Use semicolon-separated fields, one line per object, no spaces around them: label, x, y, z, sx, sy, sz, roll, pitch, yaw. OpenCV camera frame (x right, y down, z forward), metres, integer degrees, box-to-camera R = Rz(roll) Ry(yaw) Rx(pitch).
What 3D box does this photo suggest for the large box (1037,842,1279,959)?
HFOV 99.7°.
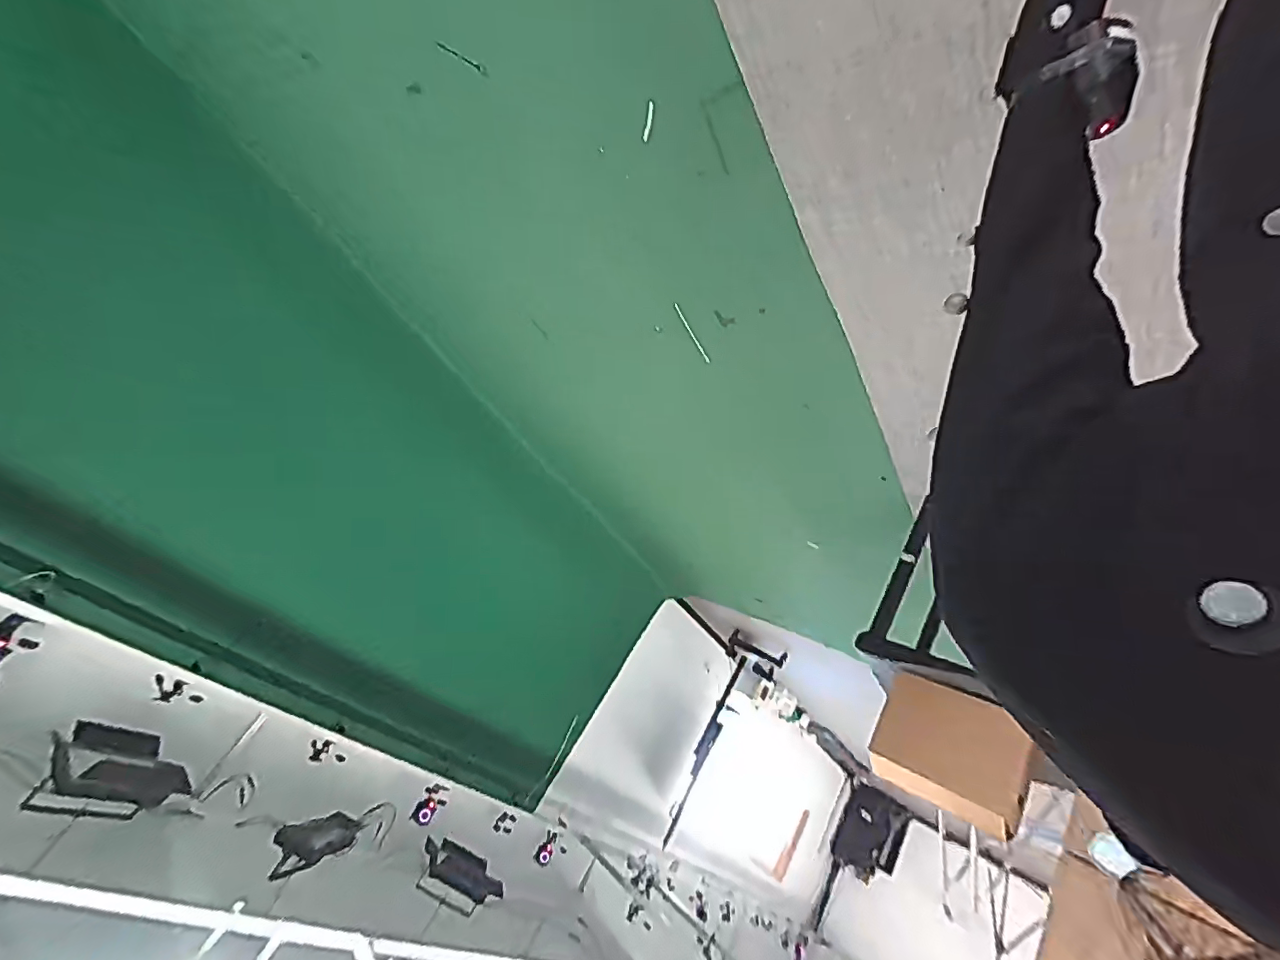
large box;1.273;1.197;1.337;0.408;0.320;0.320;9;148;46
